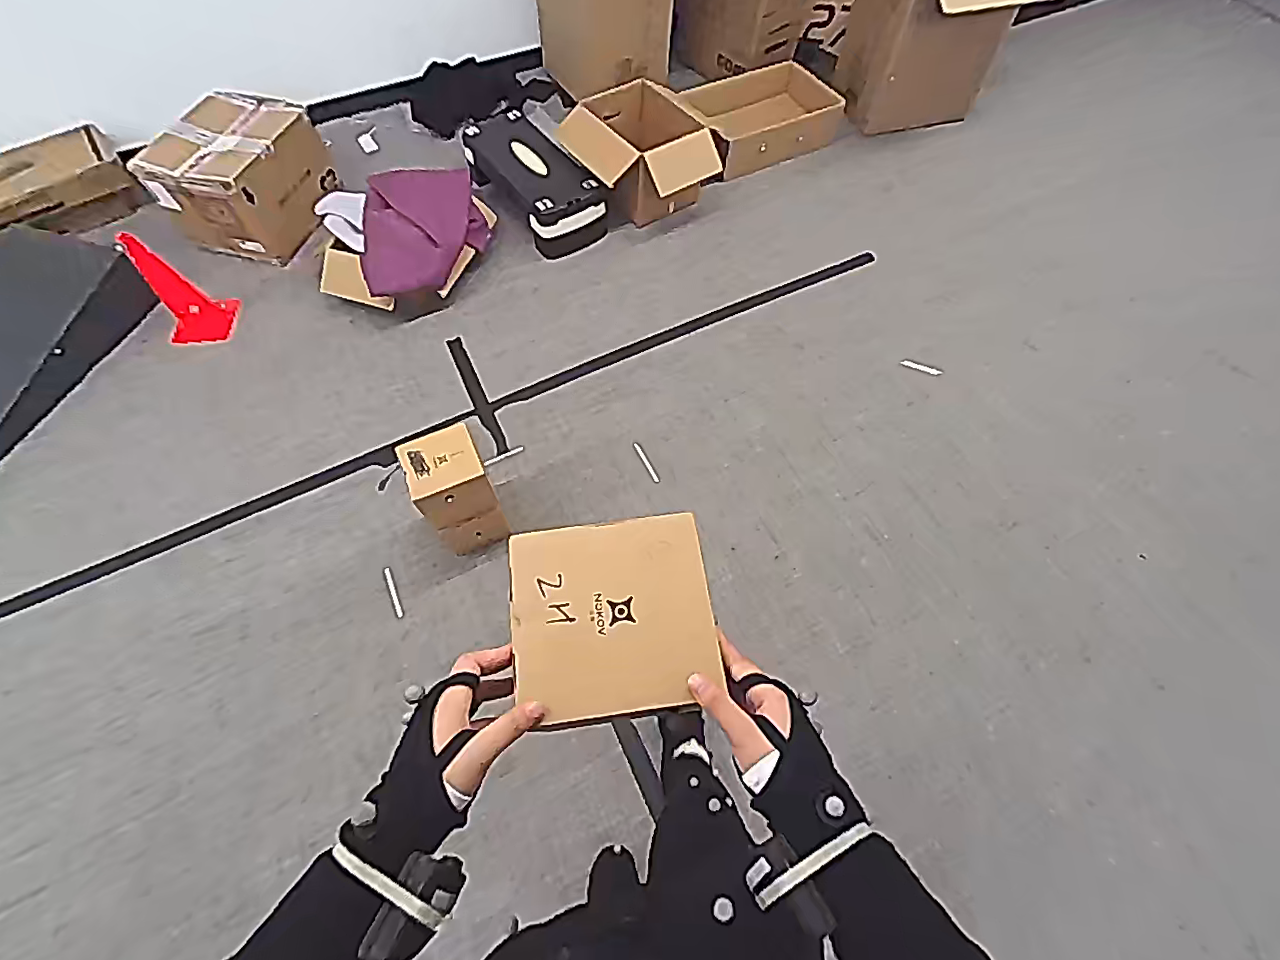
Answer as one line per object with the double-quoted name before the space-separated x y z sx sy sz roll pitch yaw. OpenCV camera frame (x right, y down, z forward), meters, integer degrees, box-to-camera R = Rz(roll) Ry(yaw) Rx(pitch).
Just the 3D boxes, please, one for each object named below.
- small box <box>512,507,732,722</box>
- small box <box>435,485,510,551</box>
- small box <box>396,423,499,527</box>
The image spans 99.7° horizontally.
"small box" -0.021 0.141 0.537 0.179 0.176 0.168 -7 65 -3
"small box" -0.474 0.078 1.490 0.168 0.176 0.179 -23 65 -12
"small box" -0.475 -0.007 1.347 0.179 0.176 0.168 -23 64 -12
